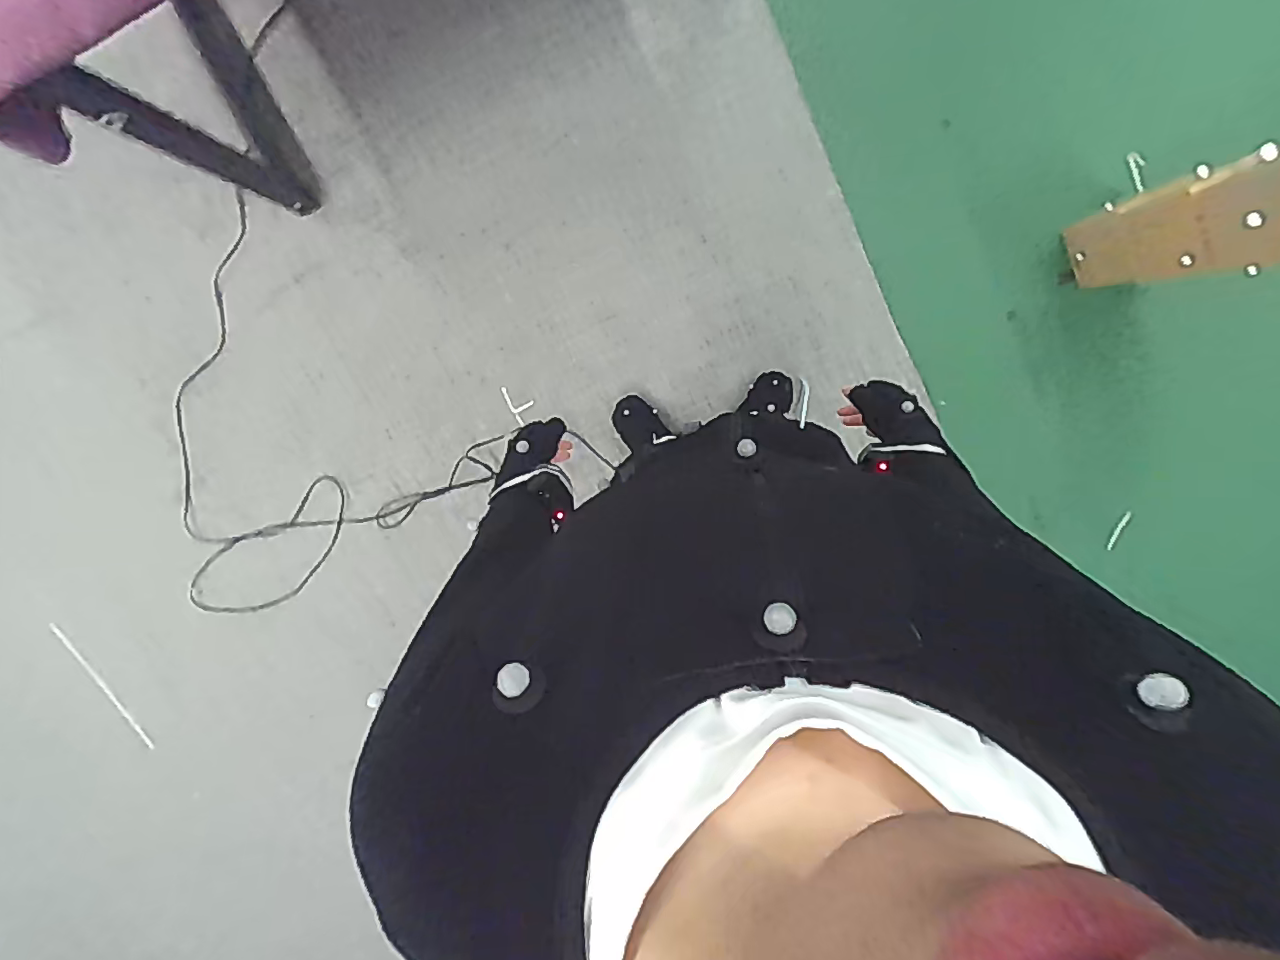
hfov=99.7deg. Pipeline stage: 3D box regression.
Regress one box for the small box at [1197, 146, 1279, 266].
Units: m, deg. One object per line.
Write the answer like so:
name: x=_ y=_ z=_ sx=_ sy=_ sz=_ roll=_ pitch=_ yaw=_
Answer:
small box: x=1.166 y=-0.501 z=0.959 sx=0.168 sy=0.176 sz=0.179 roll=-28 pitch=100 yaw=6

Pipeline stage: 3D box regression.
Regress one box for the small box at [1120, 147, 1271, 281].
small box: x=1.155 y=-0.536 z=1.119 sx=0.168 sy=0.176 sz=0.179 roll=-27 pitch=101 yaw=6
